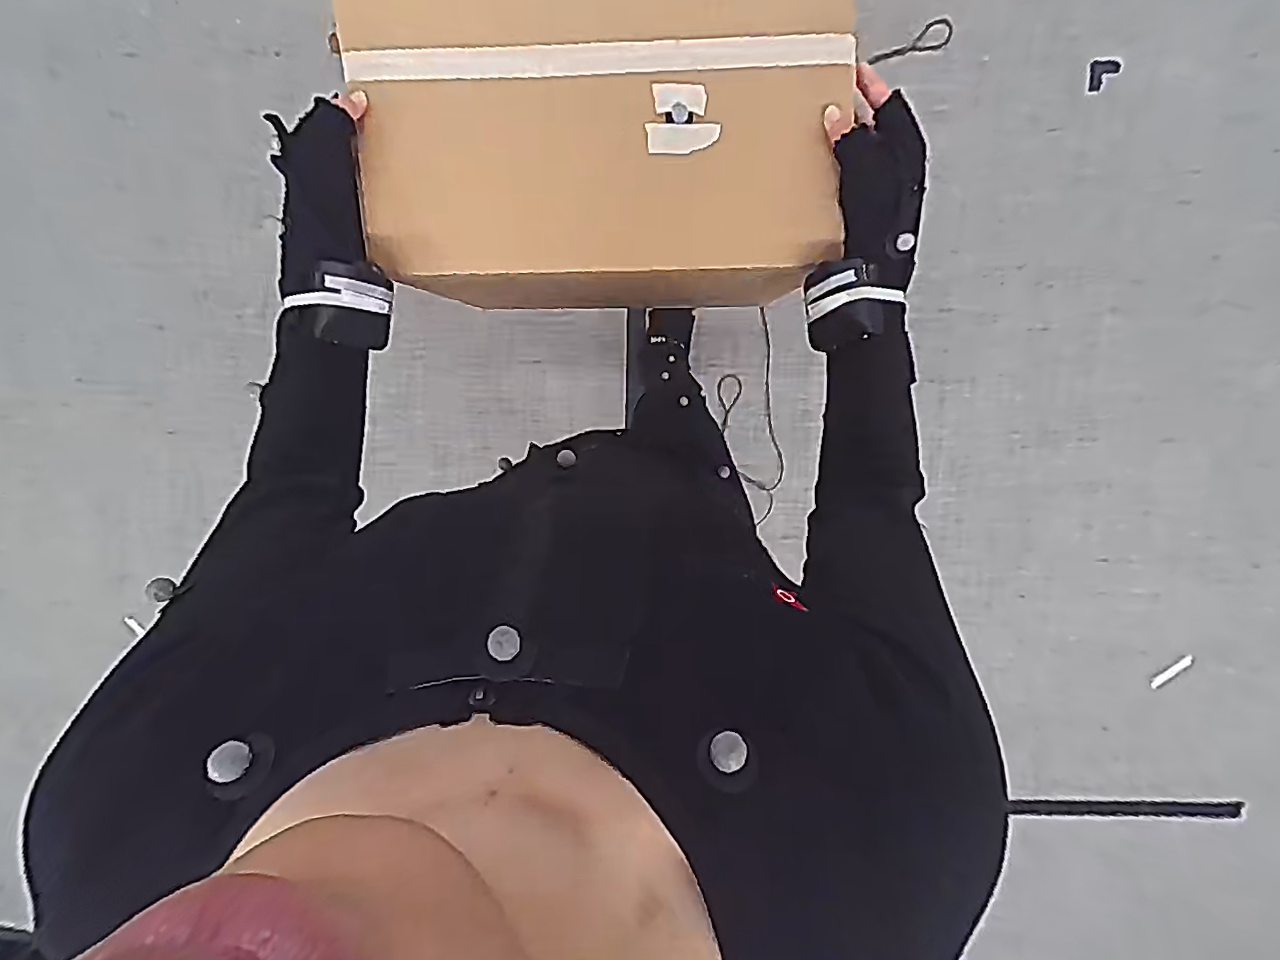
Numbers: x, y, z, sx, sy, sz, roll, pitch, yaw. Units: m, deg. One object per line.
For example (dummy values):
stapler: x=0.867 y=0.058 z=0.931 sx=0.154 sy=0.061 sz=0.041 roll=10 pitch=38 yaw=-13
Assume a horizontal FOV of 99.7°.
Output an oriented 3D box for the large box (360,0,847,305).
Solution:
large box: x=-0.029 y=-0.375 z=0.592 sx=0.408 sy=0.320 sz=0.320 roll=-1 pitch=103 yaw=1
